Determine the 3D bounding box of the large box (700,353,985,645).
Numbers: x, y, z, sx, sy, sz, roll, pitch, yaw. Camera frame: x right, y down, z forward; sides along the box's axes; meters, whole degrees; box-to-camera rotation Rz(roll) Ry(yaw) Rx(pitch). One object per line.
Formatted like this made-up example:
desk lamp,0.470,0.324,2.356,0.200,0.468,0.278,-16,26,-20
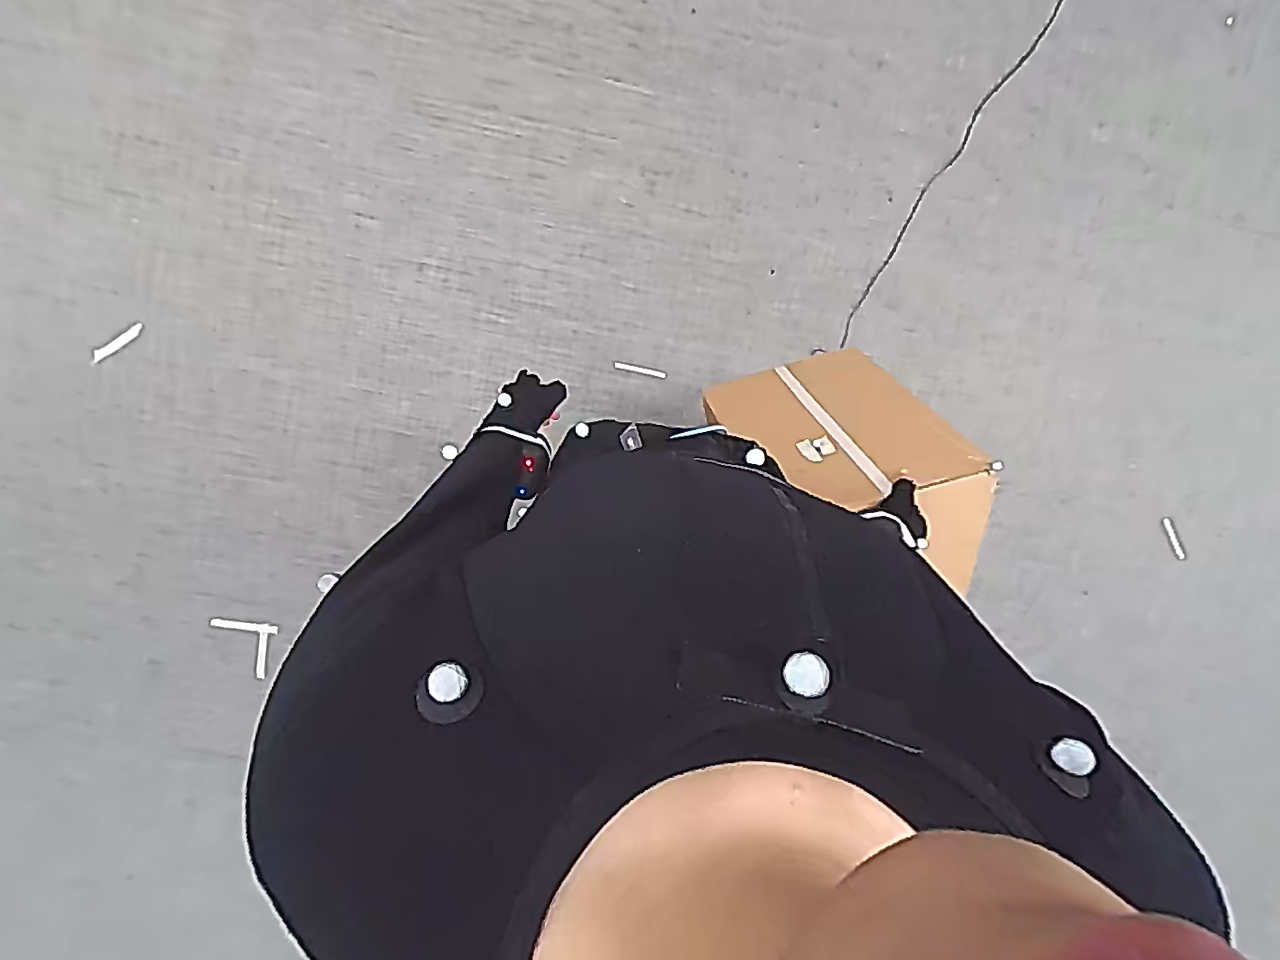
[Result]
large box,0.326,0.021,0.997,0.320,0.408,0.320,-16,130,-1
